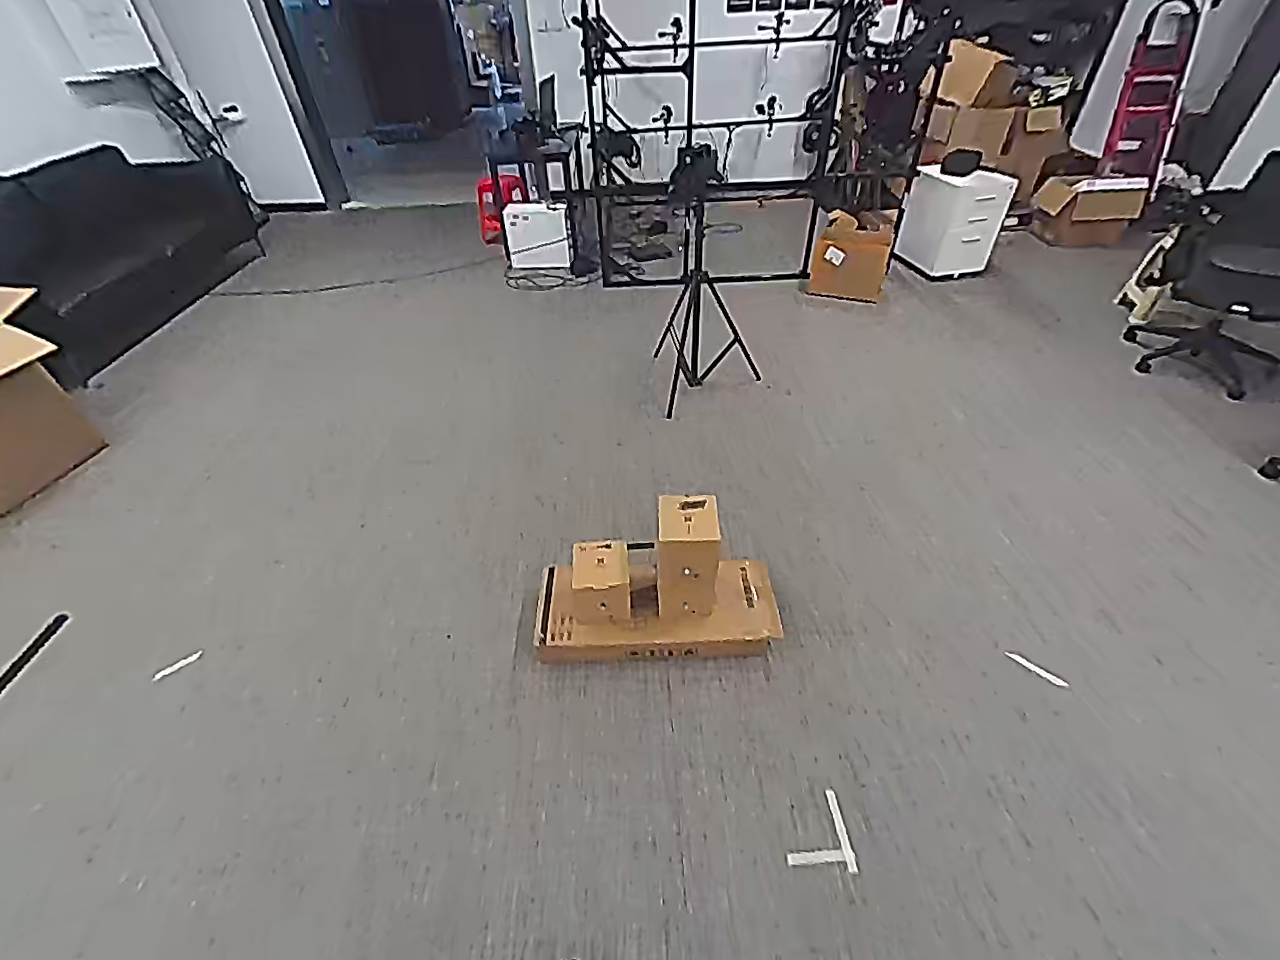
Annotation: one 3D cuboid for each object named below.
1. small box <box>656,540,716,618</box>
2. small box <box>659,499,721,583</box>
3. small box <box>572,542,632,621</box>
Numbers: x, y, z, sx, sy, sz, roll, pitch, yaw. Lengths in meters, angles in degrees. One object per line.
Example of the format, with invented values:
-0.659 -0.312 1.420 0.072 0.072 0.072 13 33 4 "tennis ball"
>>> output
0.134 0.299 1.651 0.168 0.176 0.179 -3 40 0 "small box"
0.138 0.173 1.545 0.168 0.176 0.179 -1 41 3 "small box"
-0.113 0.315 1.644 0.168 0.176 0.179 -4 41 -2 "small box"
